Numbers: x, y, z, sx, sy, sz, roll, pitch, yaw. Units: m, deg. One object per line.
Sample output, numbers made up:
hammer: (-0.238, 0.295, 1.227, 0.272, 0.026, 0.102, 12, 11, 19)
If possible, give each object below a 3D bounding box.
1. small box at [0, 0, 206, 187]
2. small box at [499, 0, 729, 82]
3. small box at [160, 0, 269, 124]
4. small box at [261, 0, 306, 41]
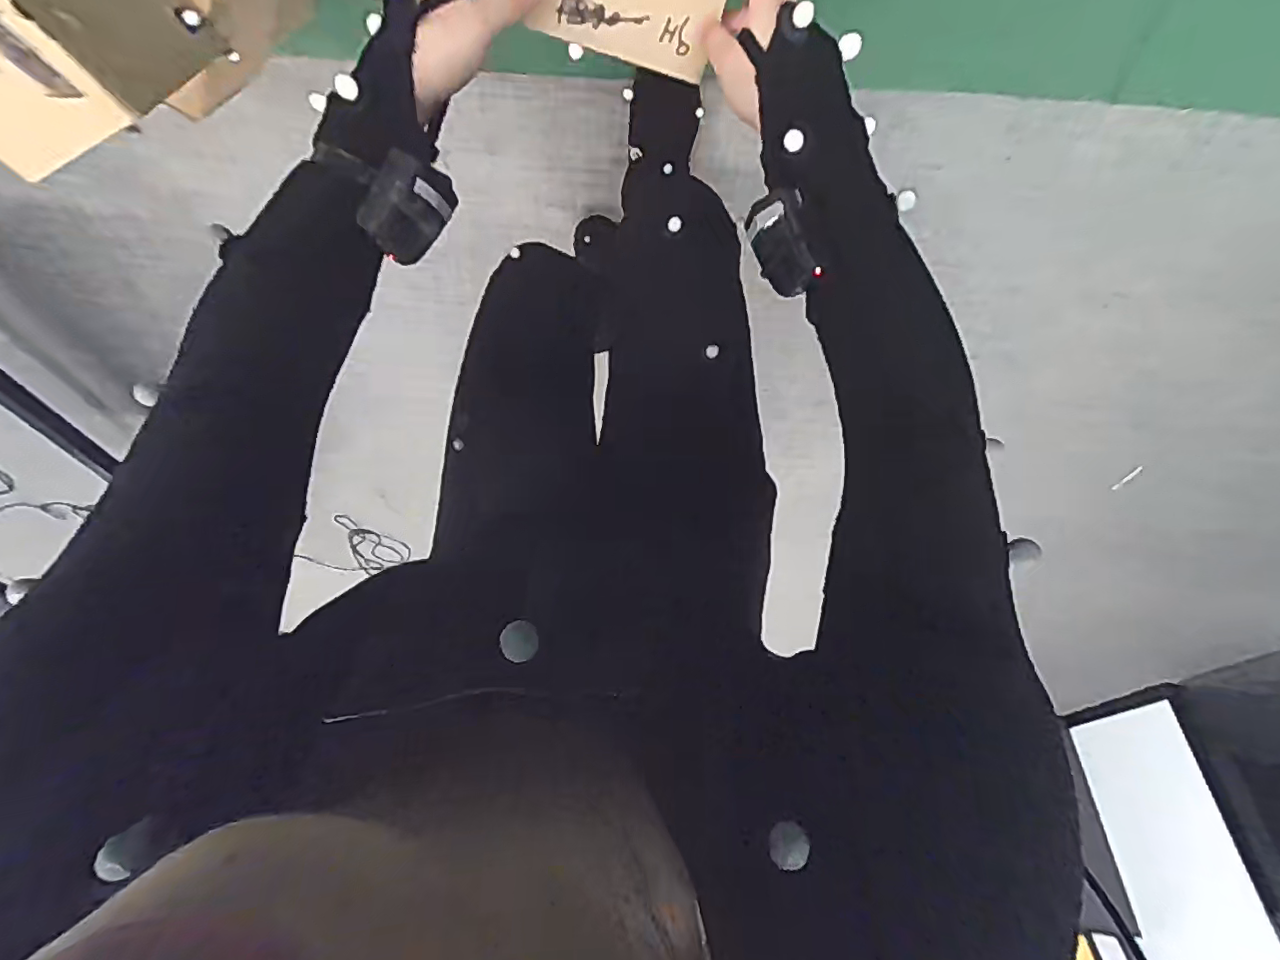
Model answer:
small box: (-0.540, -0.407, 0.480, 0.179, 0.176, 0.168, -8, 144, 20)
small box: (-0.006, -0.447, 0.400, 0.168, 0.176, 0.179, 8, 141, -14)
small box: (-0.520, -0.541, 0.573, 0.168, 0.176, 0.179, 26, 139, -30)
small box: (-0.538, -0.681, 0.660, 0.168, 0.176, 0.179, 13, 144, -13)
